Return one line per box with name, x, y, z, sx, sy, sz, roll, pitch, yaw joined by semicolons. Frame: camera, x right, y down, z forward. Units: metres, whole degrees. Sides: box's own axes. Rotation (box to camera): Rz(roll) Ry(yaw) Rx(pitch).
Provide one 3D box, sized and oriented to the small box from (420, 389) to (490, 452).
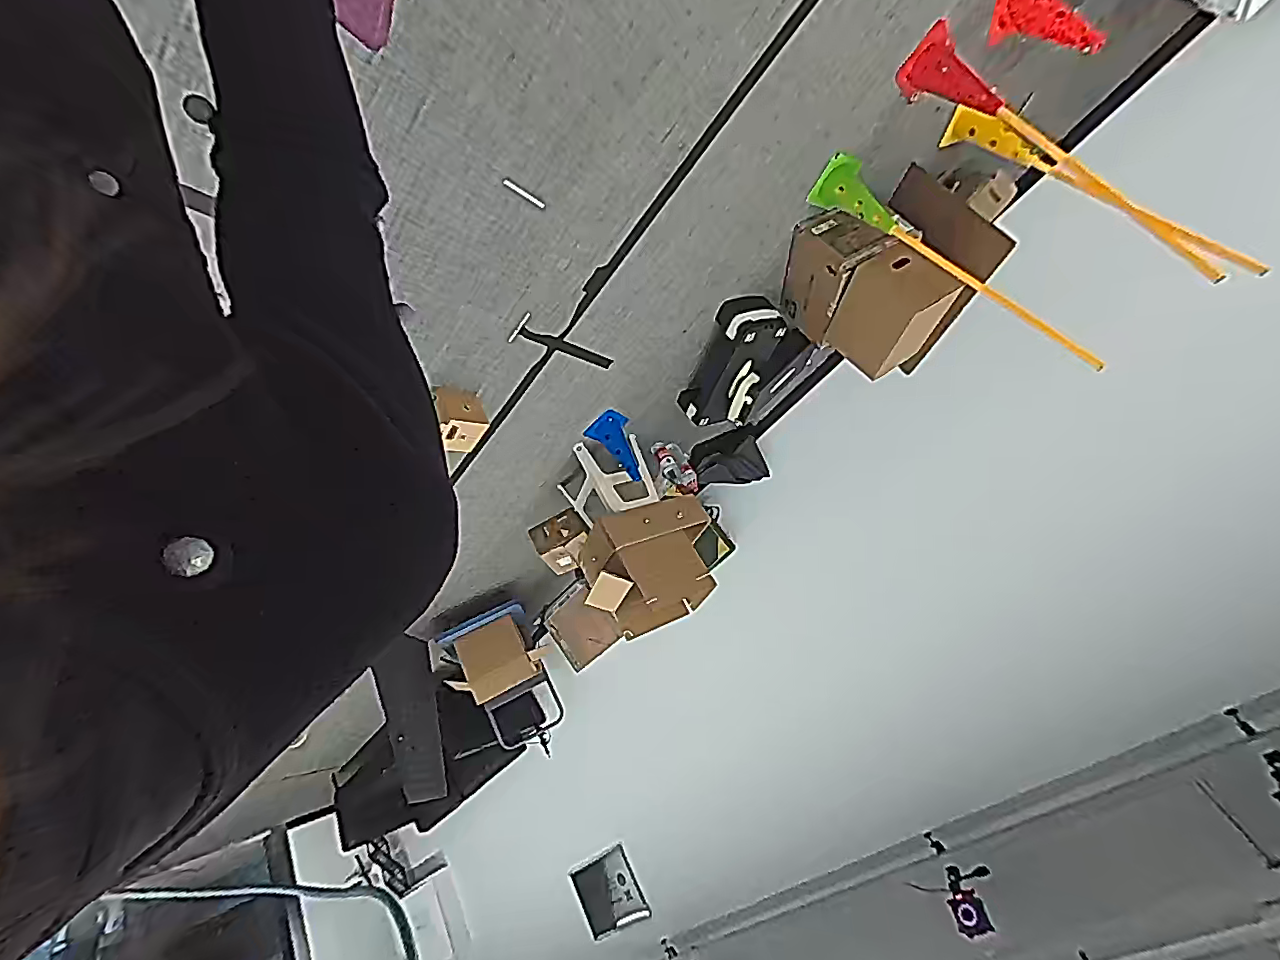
small box;-0.715;-0.230;2.079;0.179;0.176;0.168;4;137;-52
